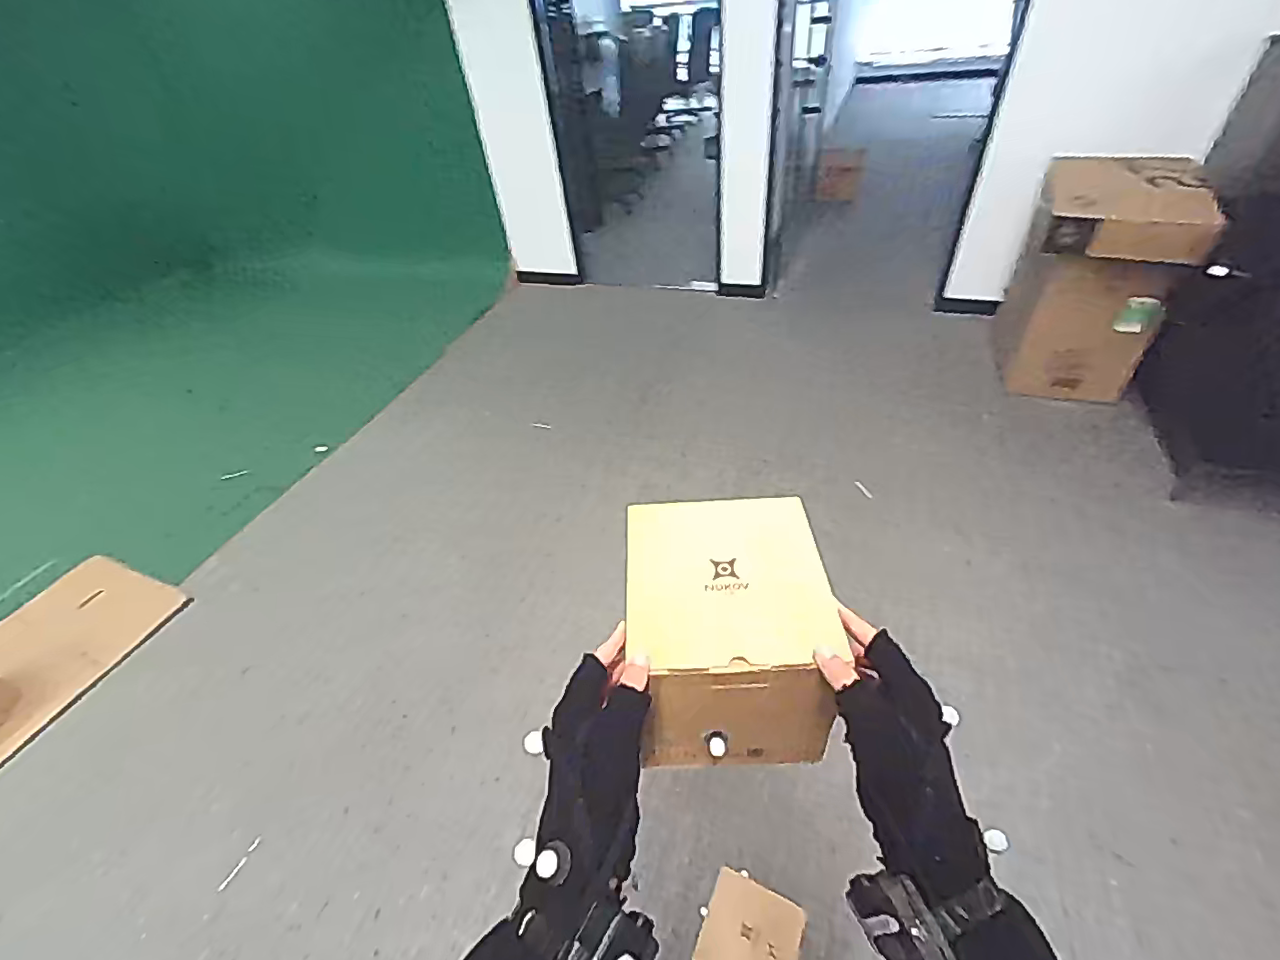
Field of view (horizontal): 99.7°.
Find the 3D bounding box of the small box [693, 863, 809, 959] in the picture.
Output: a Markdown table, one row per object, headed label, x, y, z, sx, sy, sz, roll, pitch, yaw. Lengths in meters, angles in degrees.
| label | x | y | z | sx | sy | sz | roll | pitch | yaw |
| --- | --- | --- | --- | --- | --- | --- | --- | --- | --- |
| small box | 0.219 | 0.905 | 1.065 | 0.179 | 0.176 | 0.168 | 15 | 48 | 23 |
